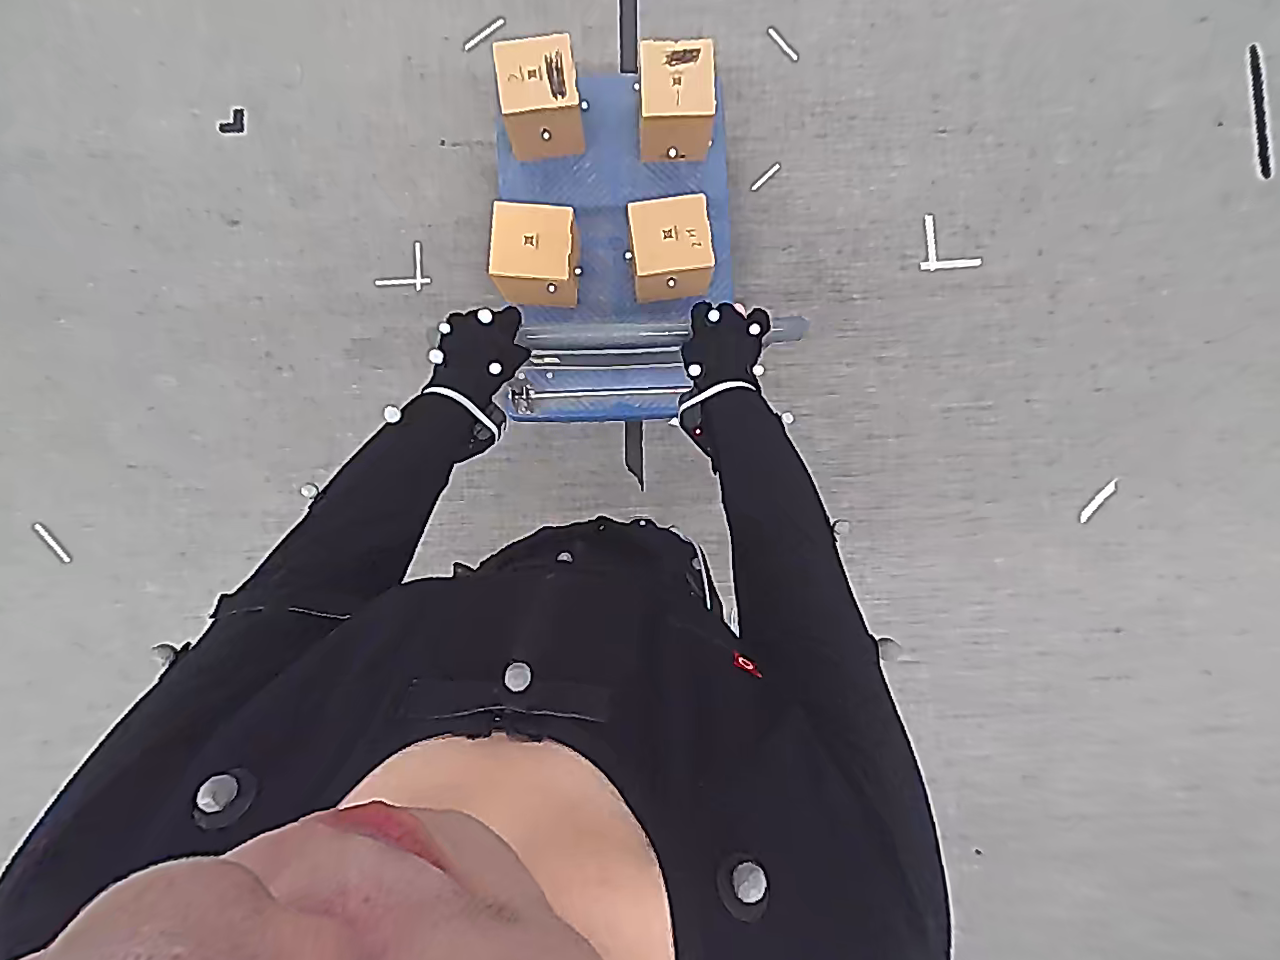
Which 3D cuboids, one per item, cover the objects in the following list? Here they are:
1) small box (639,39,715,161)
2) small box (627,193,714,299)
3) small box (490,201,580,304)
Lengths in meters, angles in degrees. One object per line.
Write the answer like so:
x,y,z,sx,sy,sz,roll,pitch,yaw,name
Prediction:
0.083,-0.893,1.281,0.168,0.176,0.179,-2,89,-1,small box
0.068,-0.538,1.268,0.179,0.176,0.168,-8,88,-1,small box
-0.239,-0.524,1.265,0.179,0.176,0.168,3,87,-2,small box
